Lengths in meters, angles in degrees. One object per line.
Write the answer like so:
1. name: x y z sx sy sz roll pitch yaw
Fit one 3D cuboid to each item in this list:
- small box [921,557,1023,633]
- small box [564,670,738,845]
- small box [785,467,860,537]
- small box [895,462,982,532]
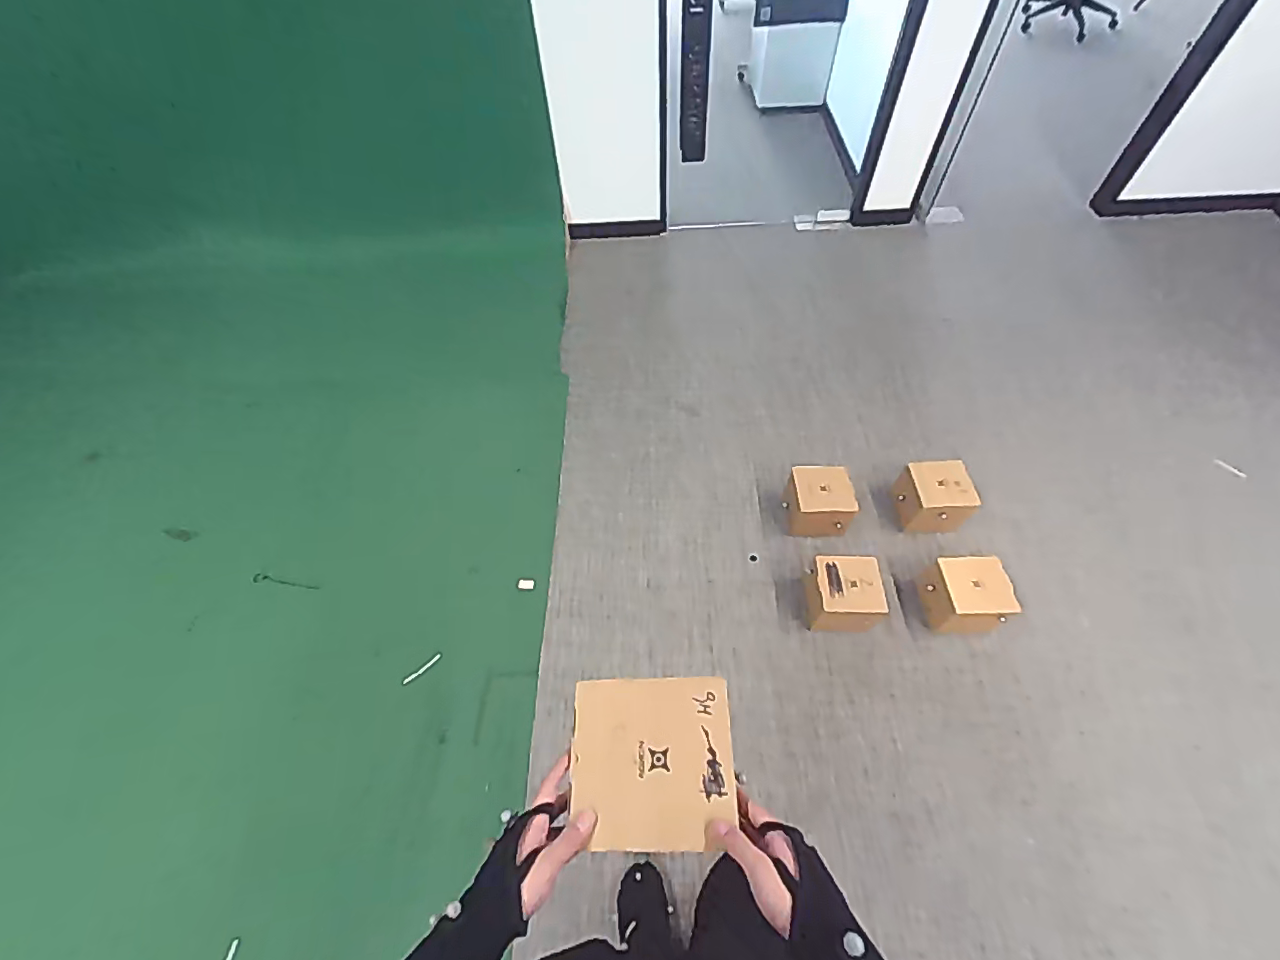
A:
1. small box: 0.926 0.331 1.535 0.179 0.176 0.168 -2 56 0
2. small box: 0.021 0.329 0.637 0.179 0.176 0.168 -3 57 6
3. small box: 0.573 0.071 1.720 0.179 0.176 0.168 -1 56 2
4. small box: 0.931 0.057 1.712 0.179 0.176 0.168 -2 57 1
